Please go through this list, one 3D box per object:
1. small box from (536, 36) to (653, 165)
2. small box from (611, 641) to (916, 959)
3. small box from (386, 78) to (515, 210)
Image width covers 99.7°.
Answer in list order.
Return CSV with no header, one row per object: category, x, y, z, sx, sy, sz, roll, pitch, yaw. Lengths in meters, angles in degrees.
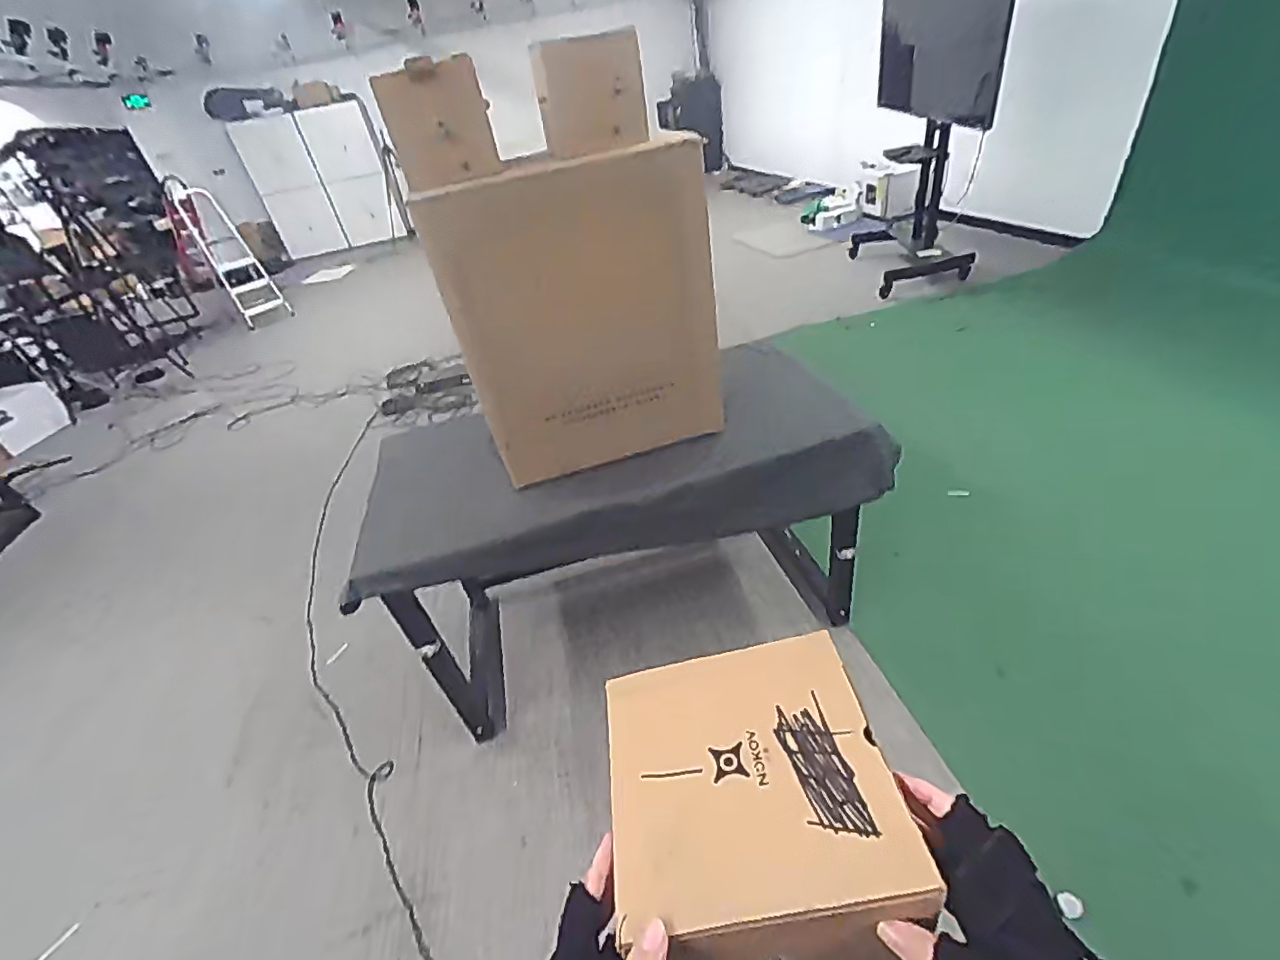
small box,-0.082,-0.690,0.994,0.168,0.176,0.179,-16,37,-9
small box,0.082,0.255,0.415,0.179,0.176,0.168,-13,34,4
small box,-0.337,-0.603,0.977,0.168,0.176,0.179,-20,38,-9
